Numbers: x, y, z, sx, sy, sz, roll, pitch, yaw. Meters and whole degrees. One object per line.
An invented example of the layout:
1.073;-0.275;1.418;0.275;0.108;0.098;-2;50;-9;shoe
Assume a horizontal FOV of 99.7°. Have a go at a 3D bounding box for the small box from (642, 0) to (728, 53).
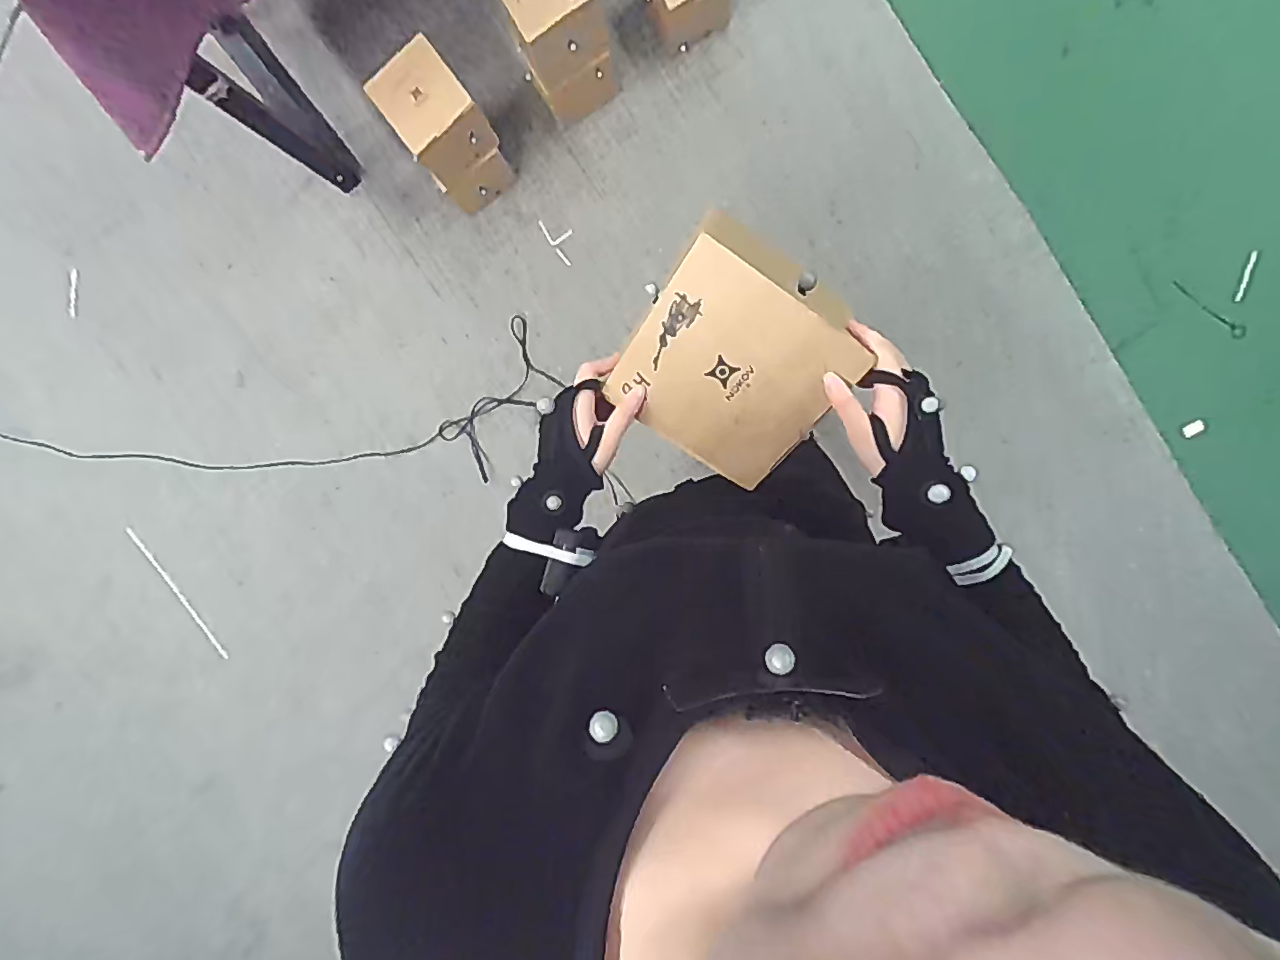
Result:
0.103;-1.161;1.271;0.168;0.176;0.179;-25;93;6;small box
